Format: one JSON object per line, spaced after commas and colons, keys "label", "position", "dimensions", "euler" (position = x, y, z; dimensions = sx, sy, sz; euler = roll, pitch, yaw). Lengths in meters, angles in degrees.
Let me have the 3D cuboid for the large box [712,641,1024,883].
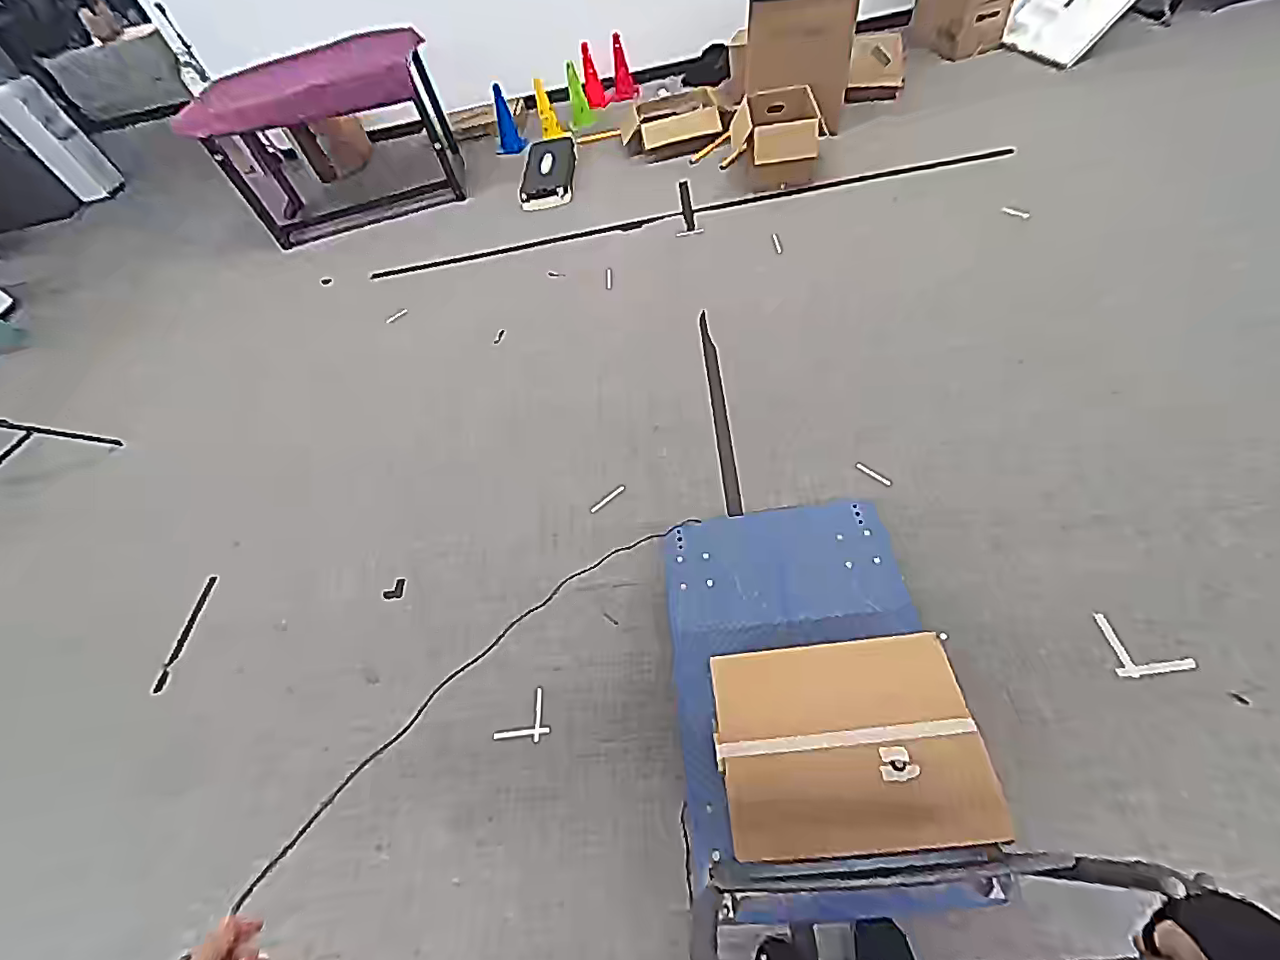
{"label": "large box", "position": [0.355, 0.517, 0.976], "dimensions": [0.408, 0.320, 0.320], "euler": [-8, 53, 5]}
